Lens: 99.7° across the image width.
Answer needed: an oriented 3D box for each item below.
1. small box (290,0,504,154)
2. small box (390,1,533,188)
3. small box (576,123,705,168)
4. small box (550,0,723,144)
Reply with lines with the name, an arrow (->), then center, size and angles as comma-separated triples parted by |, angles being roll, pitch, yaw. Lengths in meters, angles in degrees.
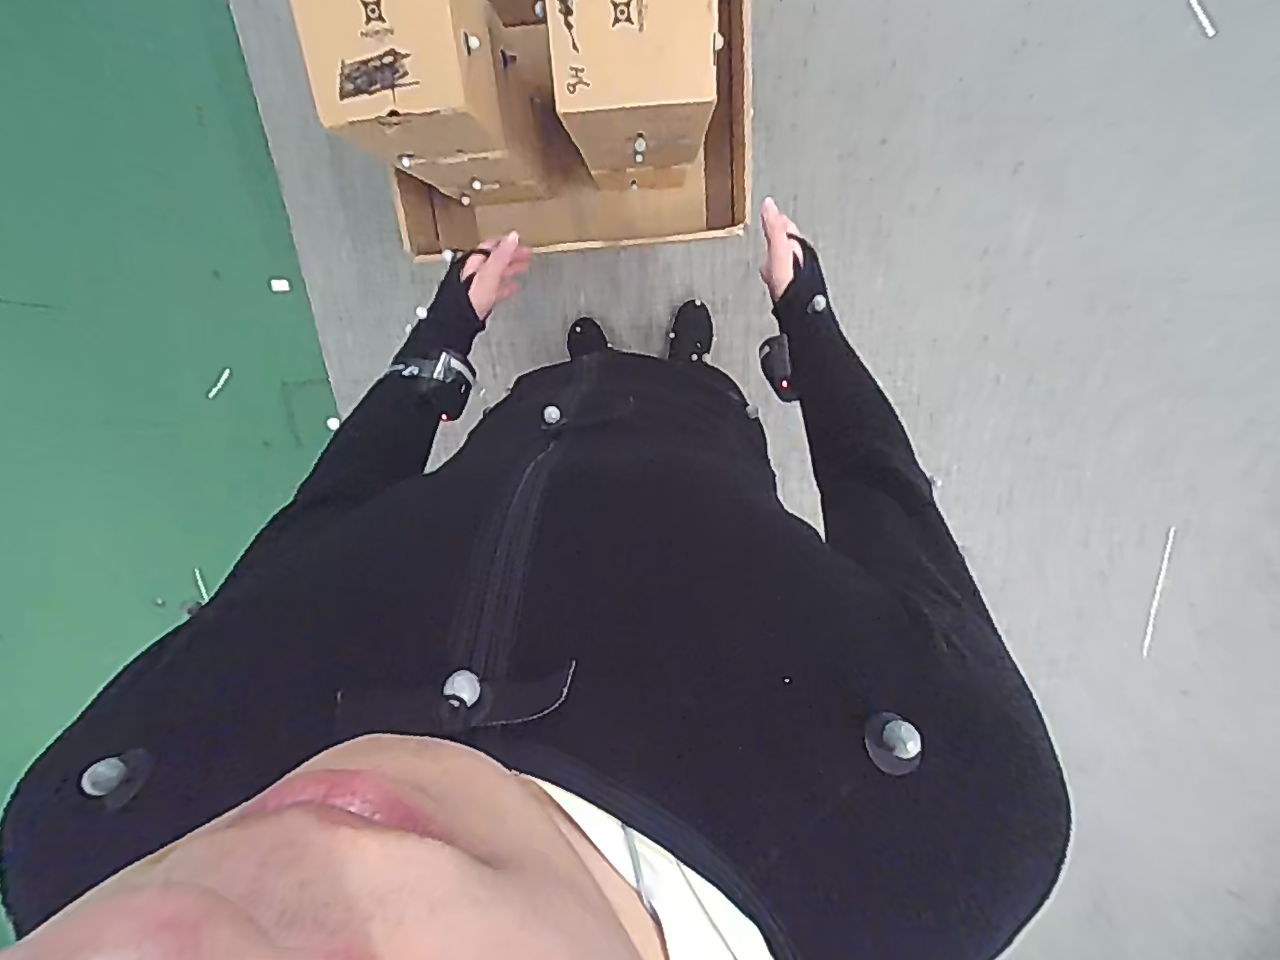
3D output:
small box -> -0.268, -0.495, 0.625 | 0.168, 0.176, 0.179 | -5, 108, 2
small box -> -0.260, -0.541, 0.783 | 0.168, 0.176, 0.179 | -3, 109, 3
small box -> 0.000, -0.558, 0.775 | 0.179, 0.176, 0.168 | -2, 111, 1
small box -> -0.004, -0.501, 0.621 | 0.179, 0.176, 0.168 | -3, 110, 1
